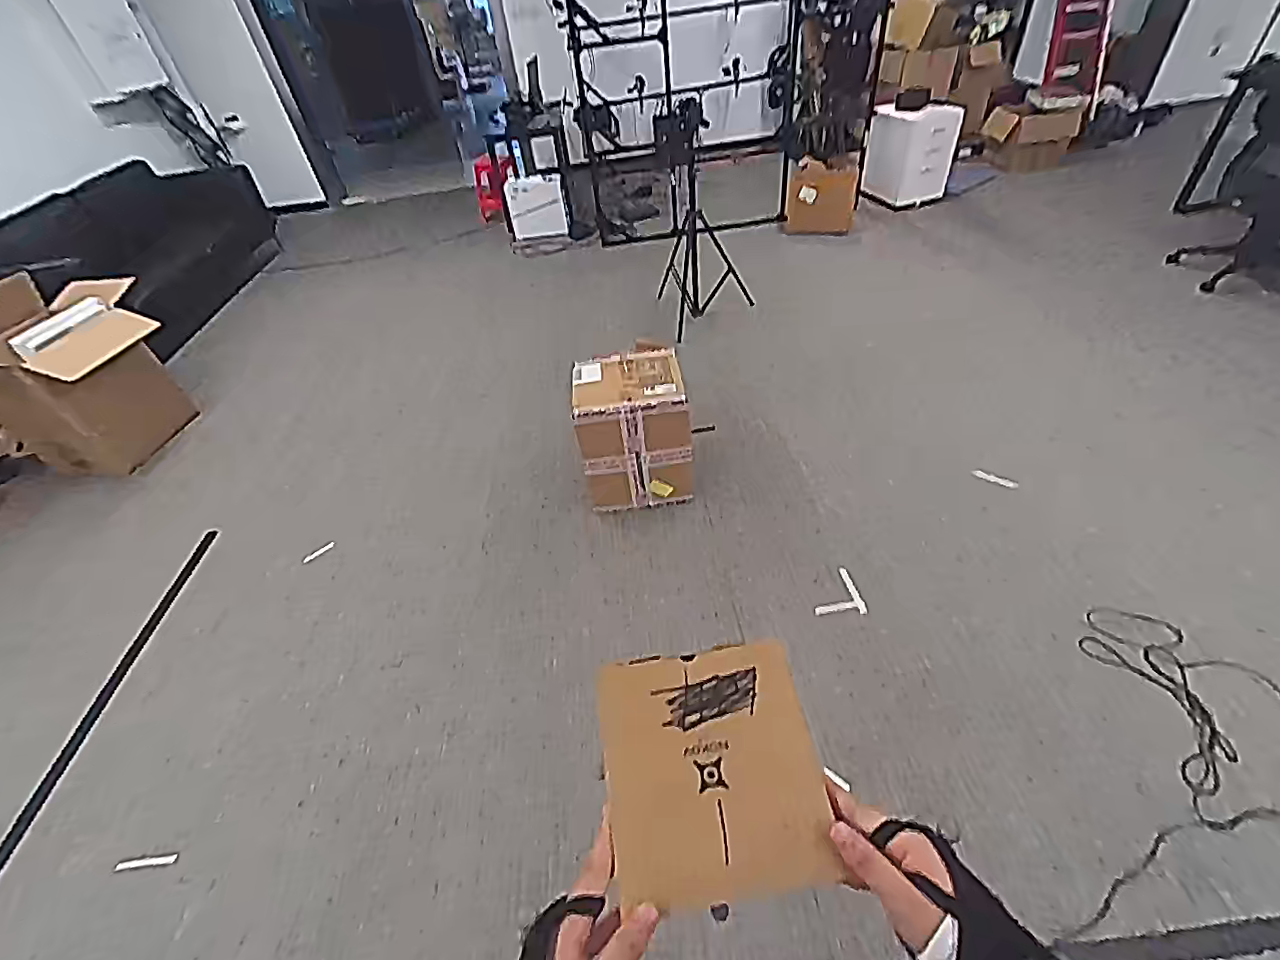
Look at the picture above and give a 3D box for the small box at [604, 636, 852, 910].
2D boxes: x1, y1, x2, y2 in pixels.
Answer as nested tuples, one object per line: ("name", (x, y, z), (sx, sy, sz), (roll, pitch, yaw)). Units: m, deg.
("small box", (0.060, 0.264, 0.490), (0.168, 0.176, 0.179), (-8, 55, -3))
